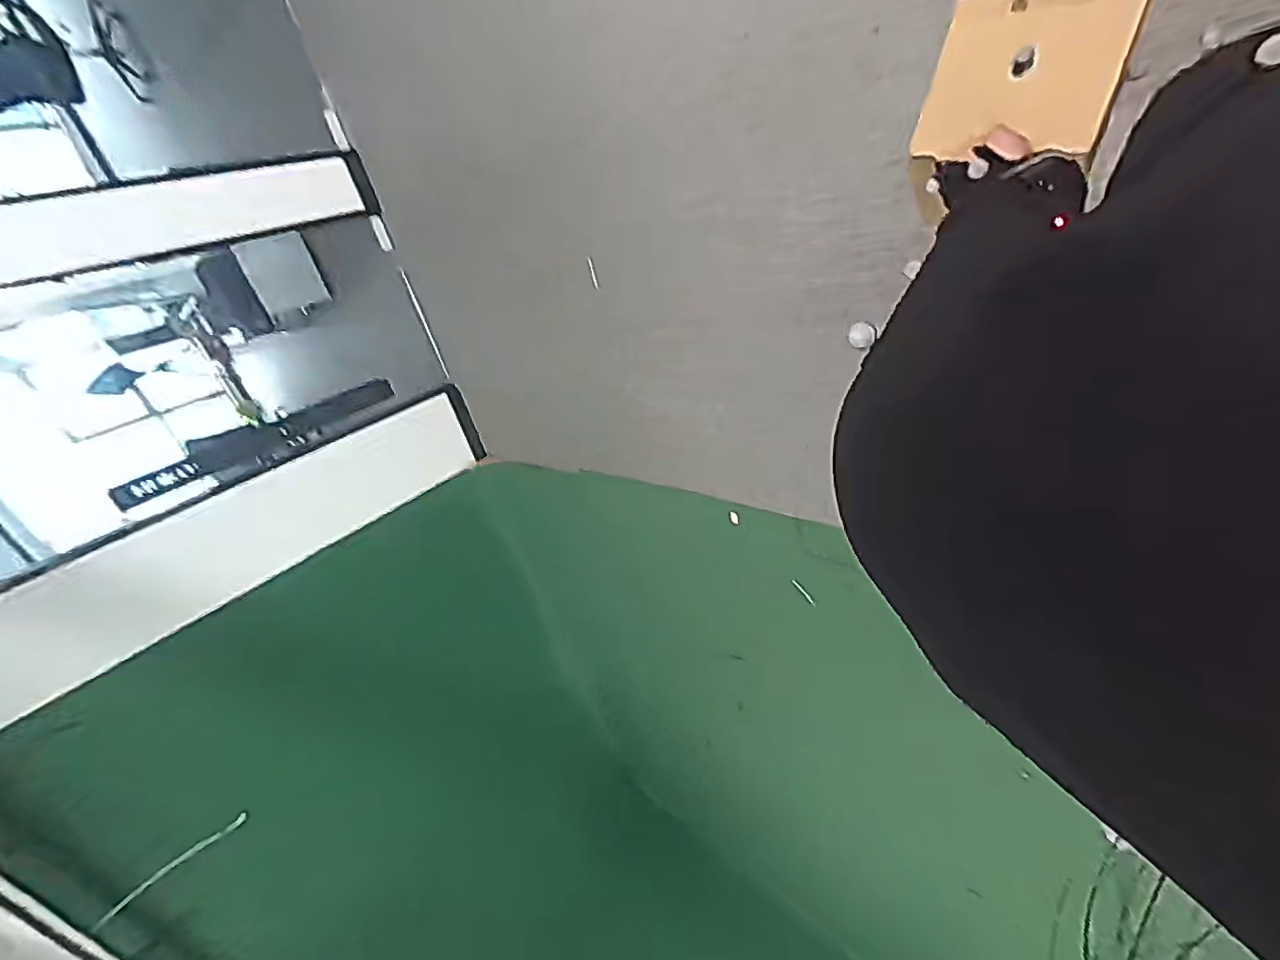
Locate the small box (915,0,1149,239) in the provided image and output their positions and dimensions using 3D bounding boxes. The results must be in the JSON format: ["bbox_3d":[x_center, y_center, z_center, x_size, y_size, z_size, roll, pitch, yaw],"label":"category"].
[{"bbox_3d":[0.433,-0.399,0.615,0.168,0.179,0.176,20,97,32],"label":"small box"}]
